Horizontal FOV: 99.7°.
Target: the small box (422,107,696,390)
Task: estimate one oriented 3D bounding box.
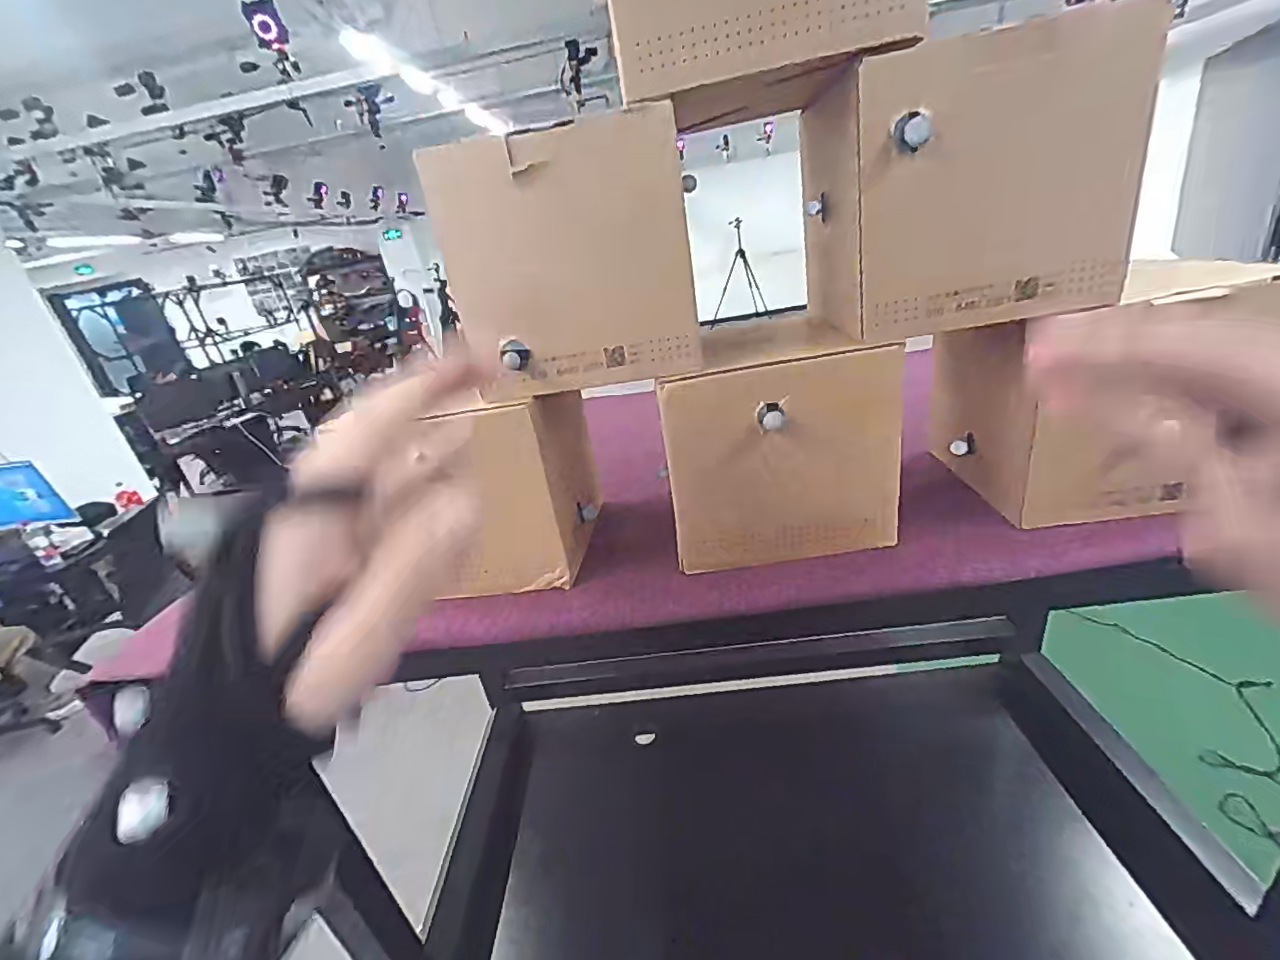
[{"bbox_3d":[-0.047,-0.178,0.451,0.168,0.176,0.179,-8,22,6],"label":"small box"}]

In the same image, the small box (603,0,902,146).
[{"bbox_3d":[0.064,-0.344,0.369,0.179,0.176,0.168,-7,24,8],"label":"small box"}]

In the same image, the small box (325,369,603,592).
[{"bbox_3d":[-0.145,-0.007,0.516,0.179,0.176,0.168,-5,24,9],"label":"small box"}]

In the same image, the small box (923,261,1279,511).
[{"bbox_3d":[0.365,-0.082,0.469,0.168,0.176,0.179,-7,24,7],"label":"small box"}]
